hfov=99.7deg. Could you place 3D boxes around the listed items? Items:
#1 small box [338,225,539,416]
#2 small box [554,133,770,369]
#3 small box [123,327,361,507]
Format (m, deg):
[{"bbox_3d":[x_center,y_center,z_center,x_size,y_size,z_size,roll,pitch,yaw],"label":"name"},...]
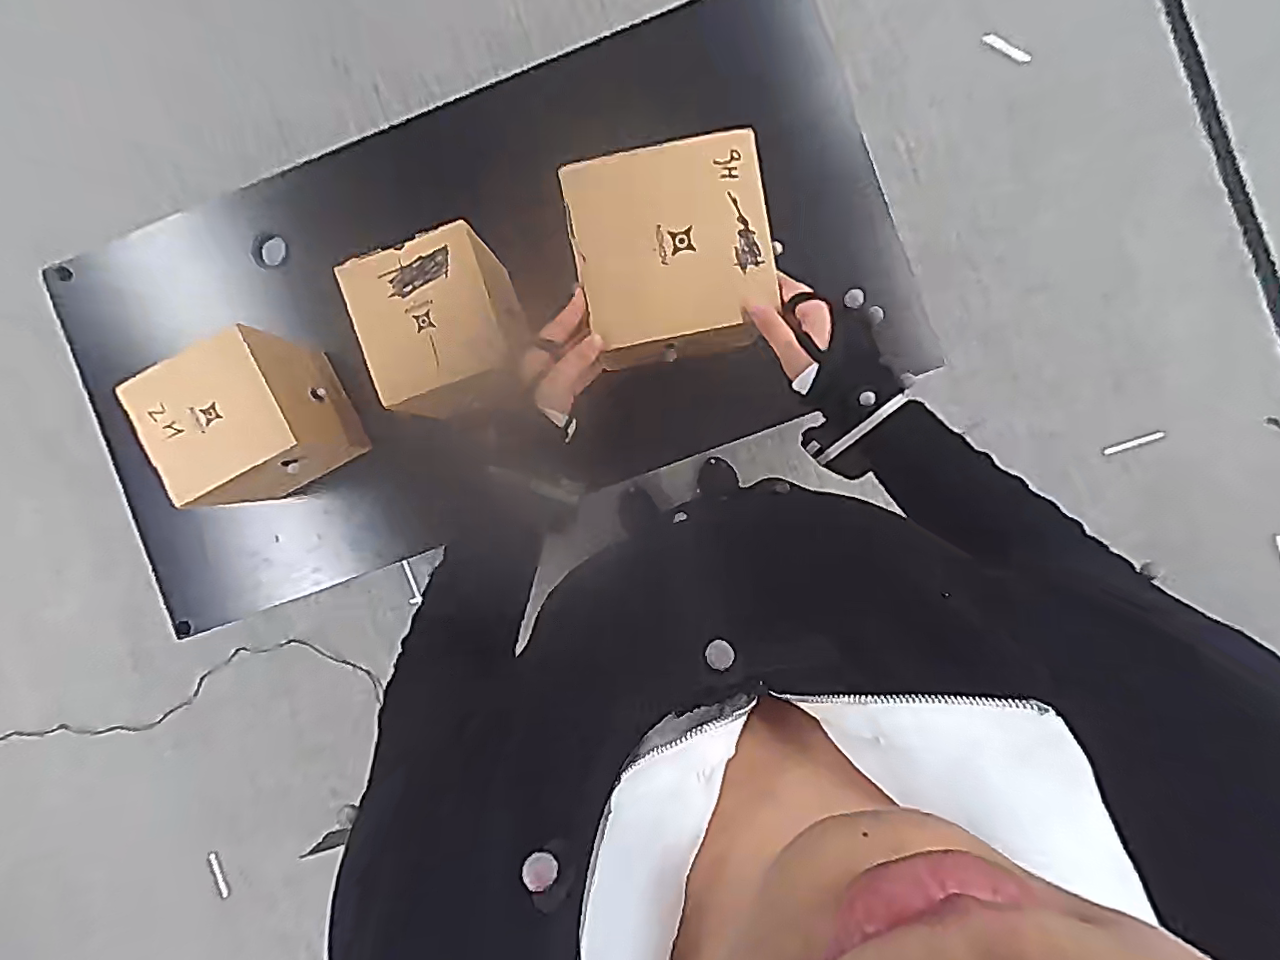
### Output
[{"bbox_3d":[-0.252,-0.196,0.716,0.168,0.176,0.179,-19,92,4],"label":"small box"},{"bbox_3d":[0.025,-0.219,0.568,0.179,0.176,0.168,-11,95,3],"label":"small box"},{"bbox_3d":[-0.516,-0.080,0.735,0.179,0.176,0.168,-27,90,4],"label":"small box"}]
